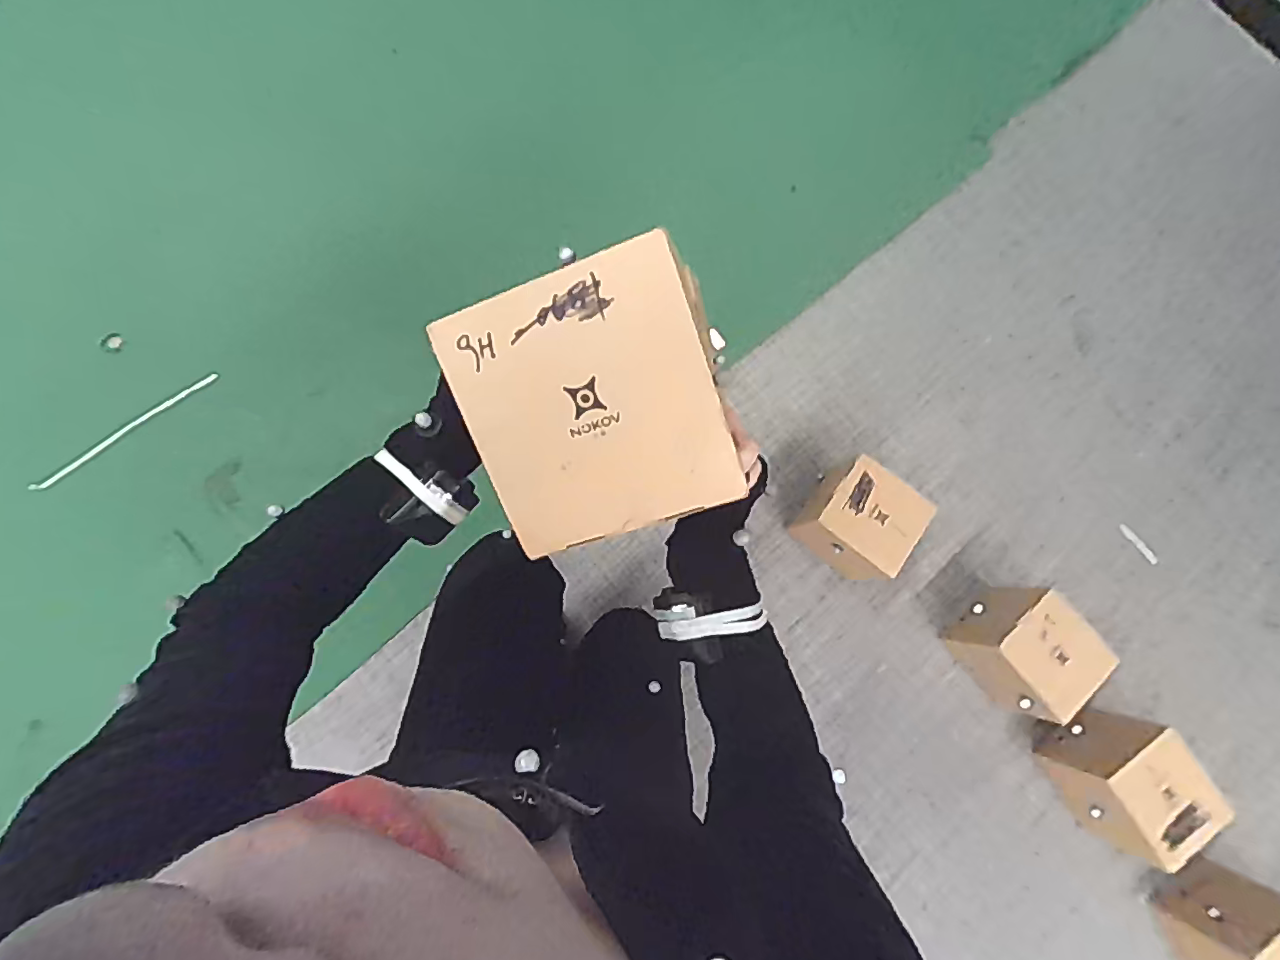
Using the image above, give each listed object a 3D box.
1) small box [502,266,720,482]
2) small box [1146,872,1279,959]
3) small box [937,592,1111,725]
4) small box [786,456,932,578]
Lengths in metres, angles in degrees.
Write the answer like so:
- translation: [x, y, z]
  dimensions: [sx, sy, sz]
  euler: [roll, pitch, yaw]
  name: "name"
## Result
- translation: [-0.016, -0.113, 0.581]
  dimensions: [0.179, 0.176, 0.168]
  euler: [-14, 104, 11]
  name: "small box"
- translation: [1.090, 0.856, 0.977]
  dimensions: [0.168, 0.176, 0.179]
  euler: [-23, 83, -9]
  name: "small box"
- translation: [0.731, 0.331, 1.047]
  dimensions: [0.168, 0.176, 0.179]
  euler: [-38, 84, -12]
  name: "small box"
- translation: [0.421, 0.082, 1.069]
  dimensions: [0.179, 0.176, 0.168]
  euler: [38, 78, 2]
  name: "small box"
